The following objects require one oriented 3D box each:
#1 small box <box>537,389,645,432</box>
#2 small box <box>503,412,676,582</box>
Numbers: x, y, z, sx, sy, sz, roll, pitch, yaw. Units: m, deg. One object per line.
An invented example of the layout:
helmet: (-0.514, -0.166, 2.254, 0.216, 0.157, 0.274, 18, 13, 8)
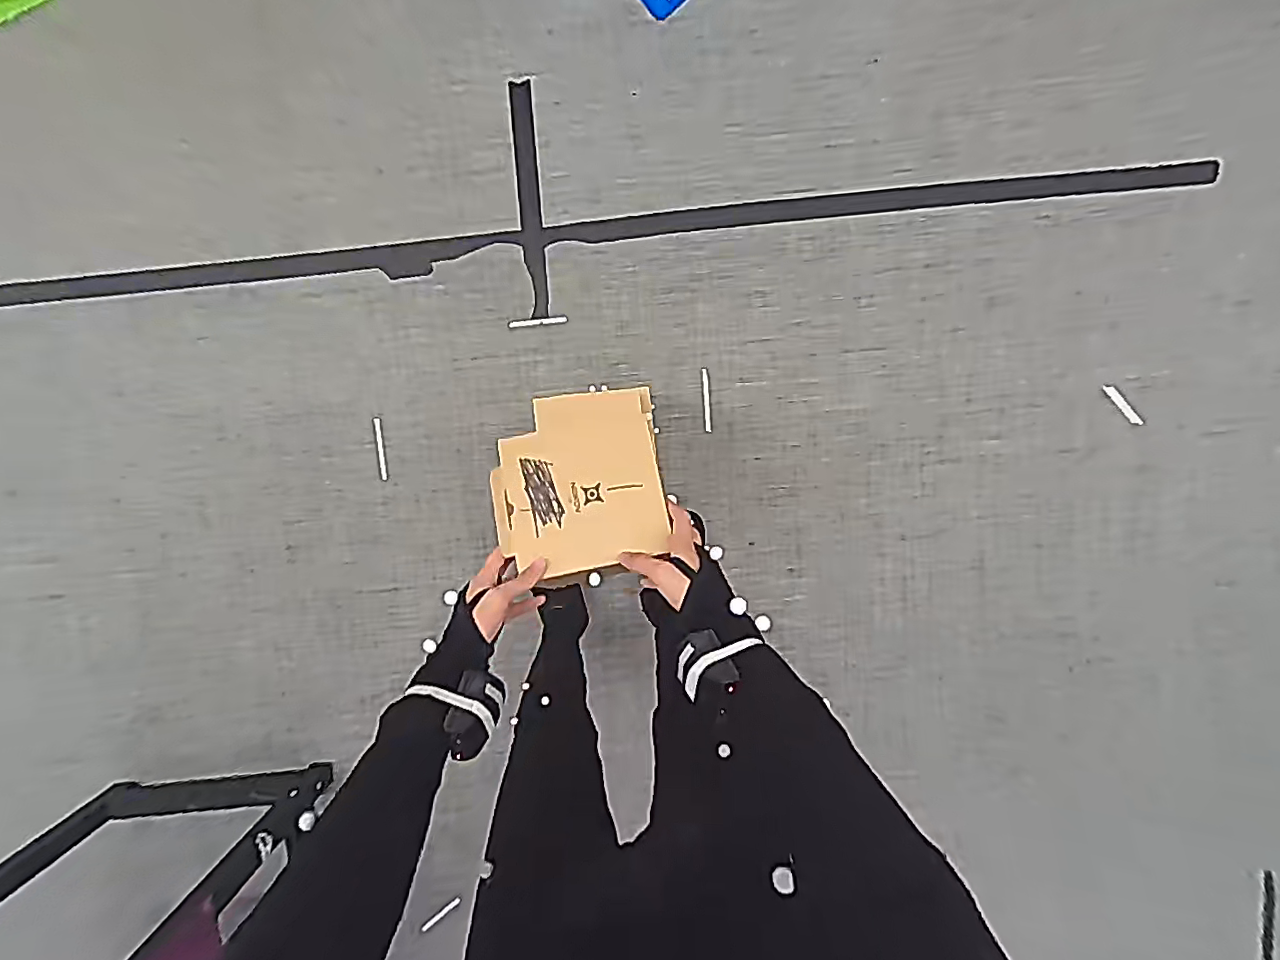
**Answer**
small box: (-0.071, -0.053, 0.905, 0.168, 0.176, 0.179, -6, 96, 0)
small box: (-0.055, 0.032, 0.681, 0.179, 0.176, 0.168, -11, 78, 0)
